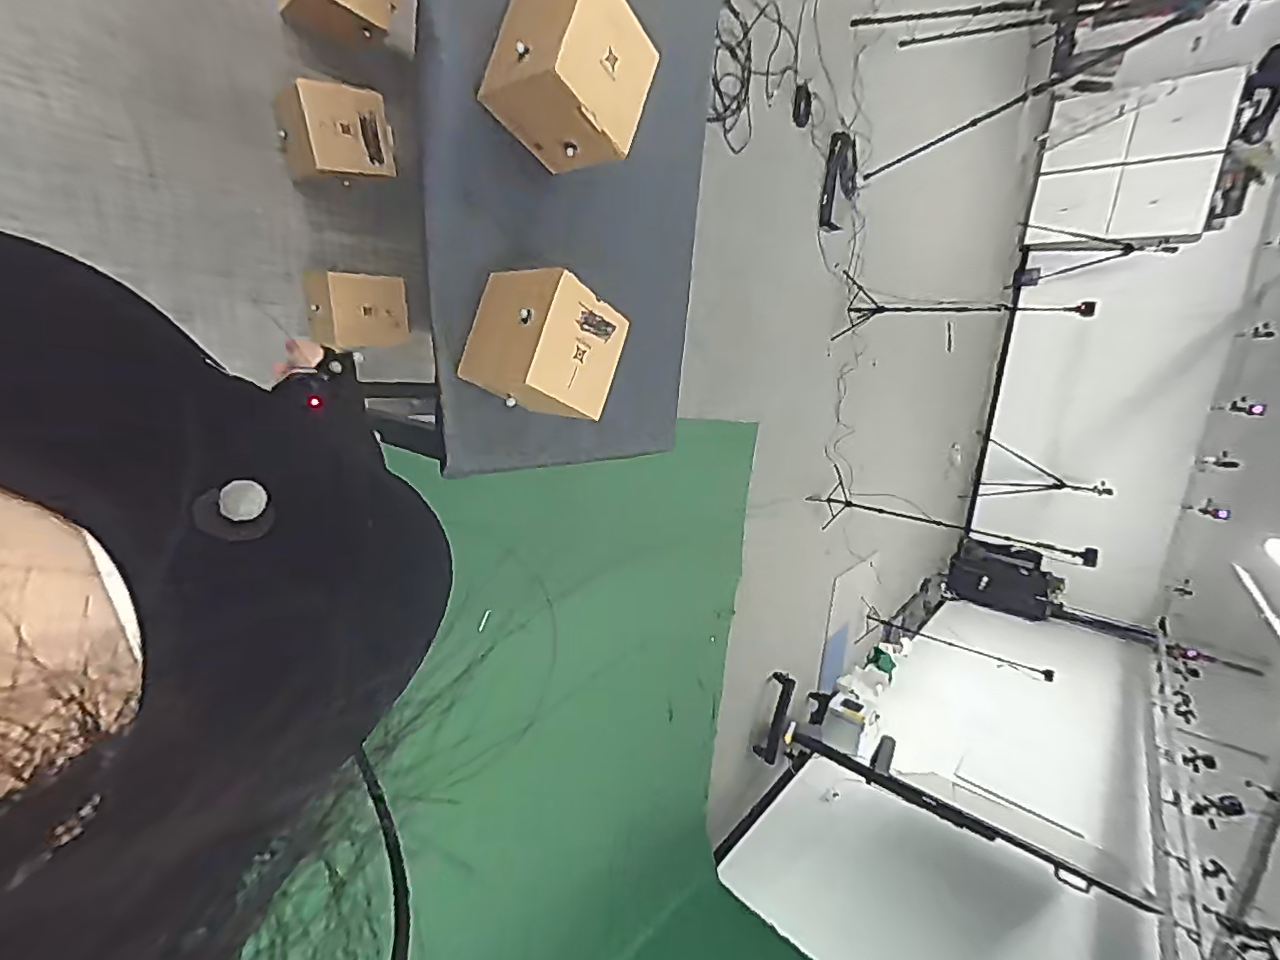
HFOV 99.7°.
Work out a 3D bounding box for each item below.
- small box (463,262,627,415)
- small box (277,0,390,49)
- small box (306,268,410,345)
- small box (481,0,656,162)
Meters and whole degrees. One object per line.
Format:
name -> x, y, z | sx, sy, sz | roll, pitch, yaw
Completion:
small box -> -0.151, -0.218, 0.856 | 0.168, 0.176, 0.179 | 23, 82, -52
small box -> -0.658, -1.077, 1.160 | 0.179, 0.176, 0.168 | -4, 104, -49
small box -> -0.690, -0.415, 1.315 | 0.179, 0.176, 0.168 | -16, 114, -46
small box -> -0.107, -0.608, 0.800 | 0.168, 0.176, 0.179 | 21, 83, -53
